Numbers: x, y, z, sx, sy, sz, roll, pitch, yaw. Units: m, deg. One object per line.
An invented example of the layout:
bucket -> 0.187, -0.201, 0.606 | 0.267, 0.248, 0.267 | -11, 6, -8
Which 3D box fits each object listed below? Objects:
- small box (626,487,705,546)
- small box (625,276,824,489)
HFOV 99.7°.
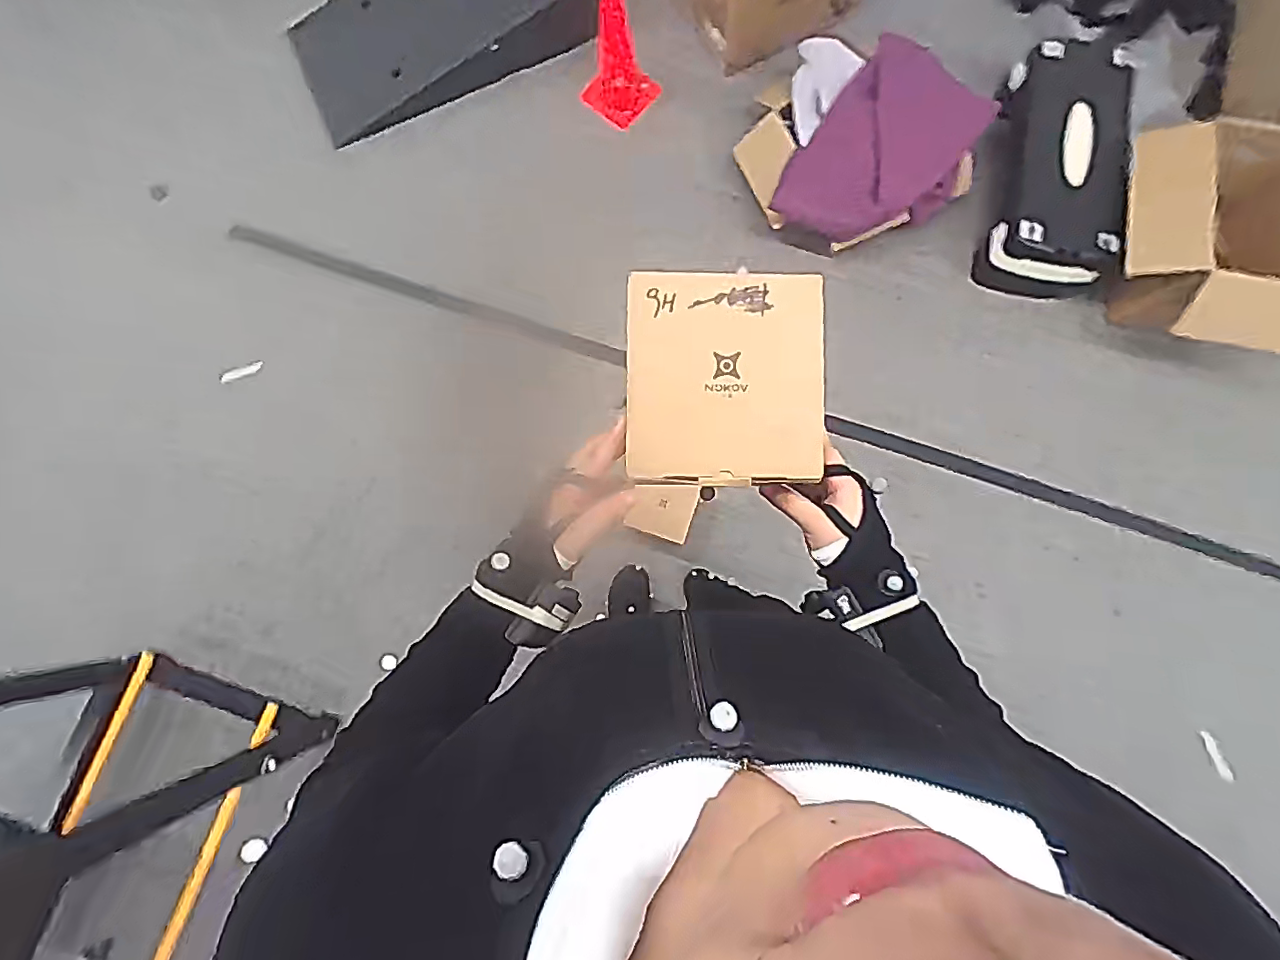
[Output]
small box -> 0.069, 0.070, 1.452 | 0.168, 0.176, 0.179 | 18, 83, 6
small box -> 0.069, -0.082, 0.526 | 0.168, 0.176, 0.179 | -1, 90, -1
